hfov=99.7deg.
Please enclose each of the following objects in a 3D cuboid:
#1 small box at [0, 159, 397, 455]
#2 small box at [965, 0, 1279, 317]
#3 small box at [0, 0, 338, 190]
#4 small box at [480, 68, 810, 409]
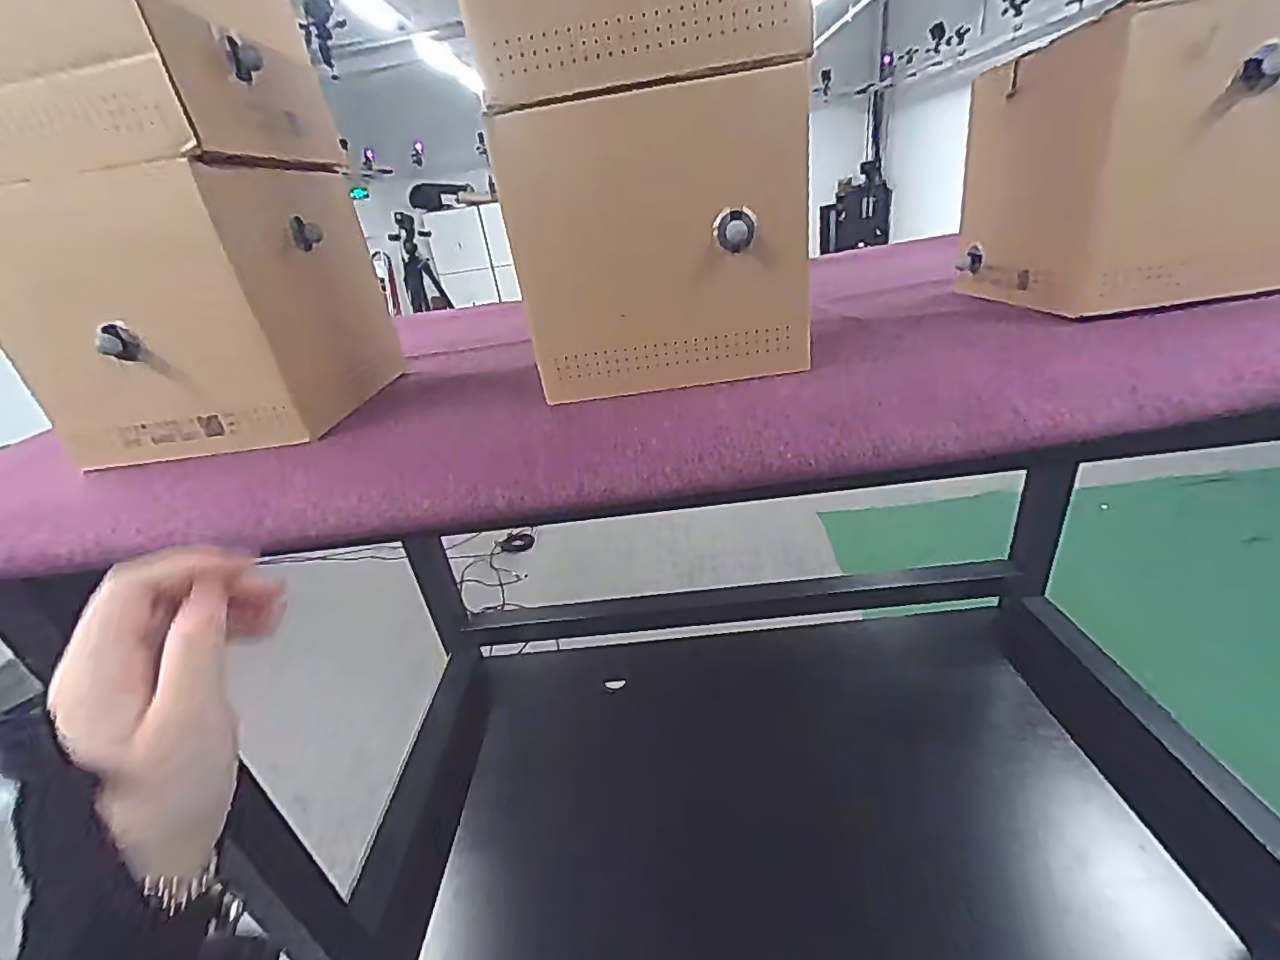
[{"bbox_3d":[-0.307,-0.125,0.399,0.168,0.176,0.179,-6,28,2],"label":"small box"},{"bbox_3d":[0.356,-0.218,0.383,0.179,0.176,0.168,-6,25,5],"label":"small box"},{"bbox_3d":[-0.327,-0.267,0.323,0.179,0.176,0.168,-7,28,2],"label":"small box"},{"bbox_3d":[0.012,-0.163,0.387,0.179,0.176,0.168,-8,27,3],"label":"small box"}]
